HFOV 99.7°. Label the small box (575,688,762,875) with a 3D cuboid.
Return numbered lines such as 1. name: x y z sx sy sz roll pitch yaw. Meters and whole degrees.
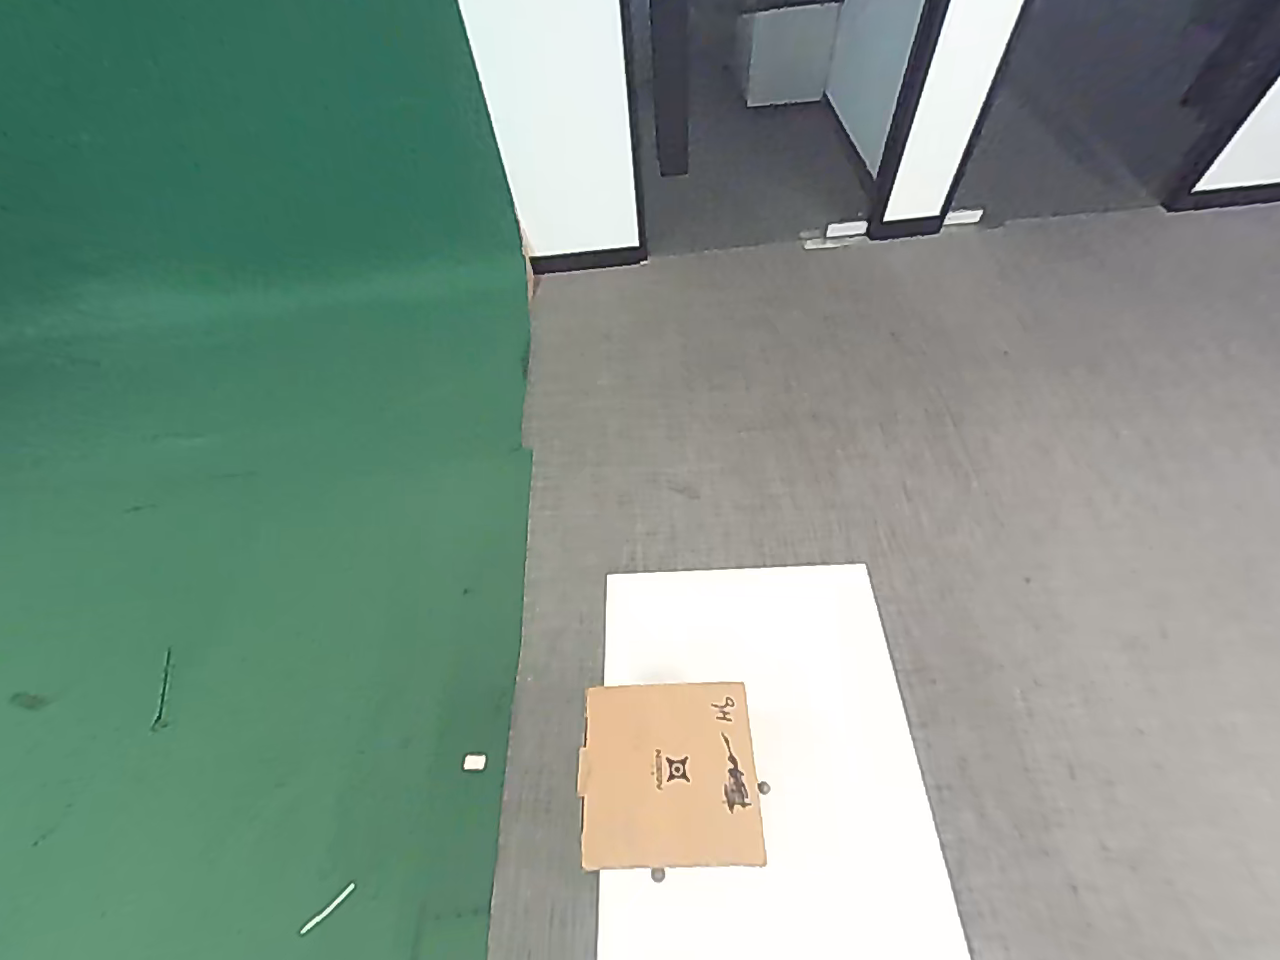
1. small box: 0.032 0.340 0.606 0.179 0.176 0.168 -3 56 3
